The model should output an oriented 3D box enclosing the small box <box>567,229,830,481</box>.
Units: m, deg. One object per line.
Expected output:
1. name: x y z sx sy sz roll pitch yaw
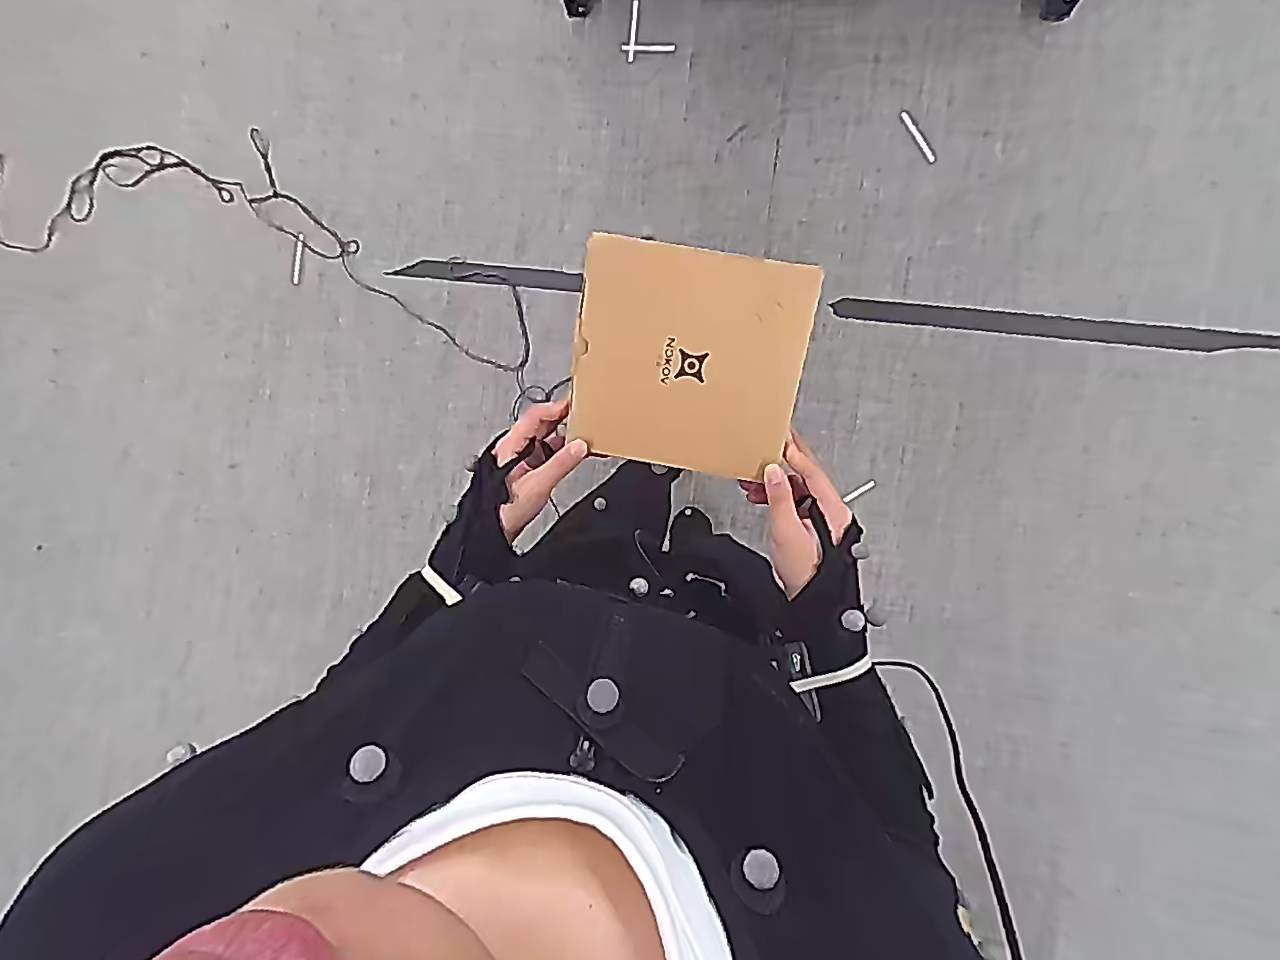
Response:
1. small box: 0.047 -0.112 0.484 0.179 0.176 0.168 10 106 5
